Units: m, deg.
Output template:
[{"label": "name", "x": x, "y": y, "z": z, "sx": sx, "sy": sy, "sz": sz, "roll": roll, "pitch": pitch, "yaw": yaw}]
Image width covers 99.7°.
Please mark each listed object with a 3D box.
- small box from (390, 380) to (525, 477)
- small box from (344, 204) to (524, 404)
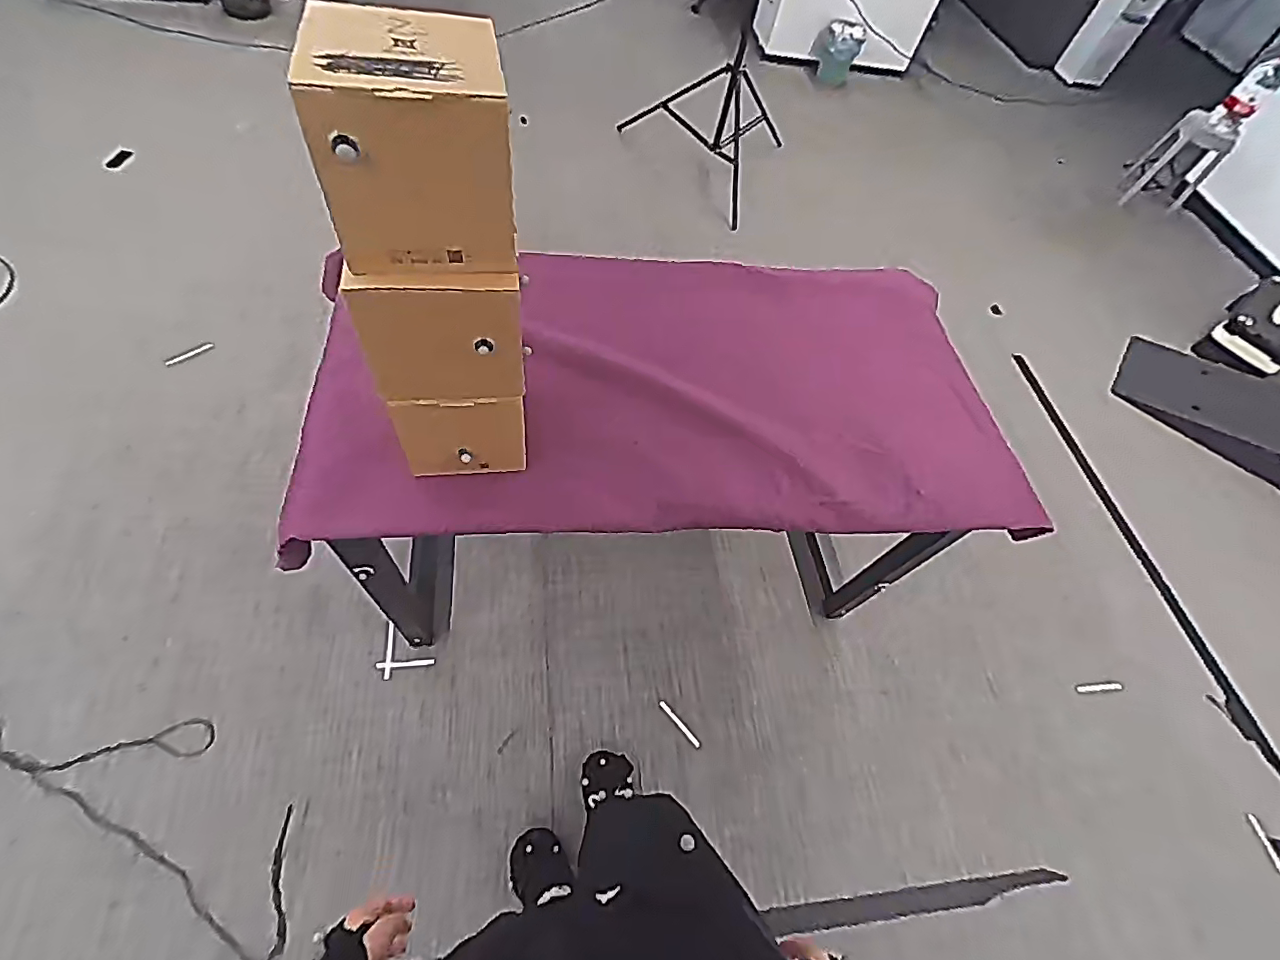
[{"label": "small box", "x": -0.258, "y": -0.123, "z": 0.799, "sx": 0.168, "sy": 0.176, "sz": 0.179, "roll": -4, "pitch": 59, "yaw": -12}, {"label": "small box", "x": -0.236, "y": -0.210, "z": 0.664, "sx": 0.179, "sy": 0.176, "sz": 0.168, "roll": -5, "pitch": 57, "yaw": -12}]
